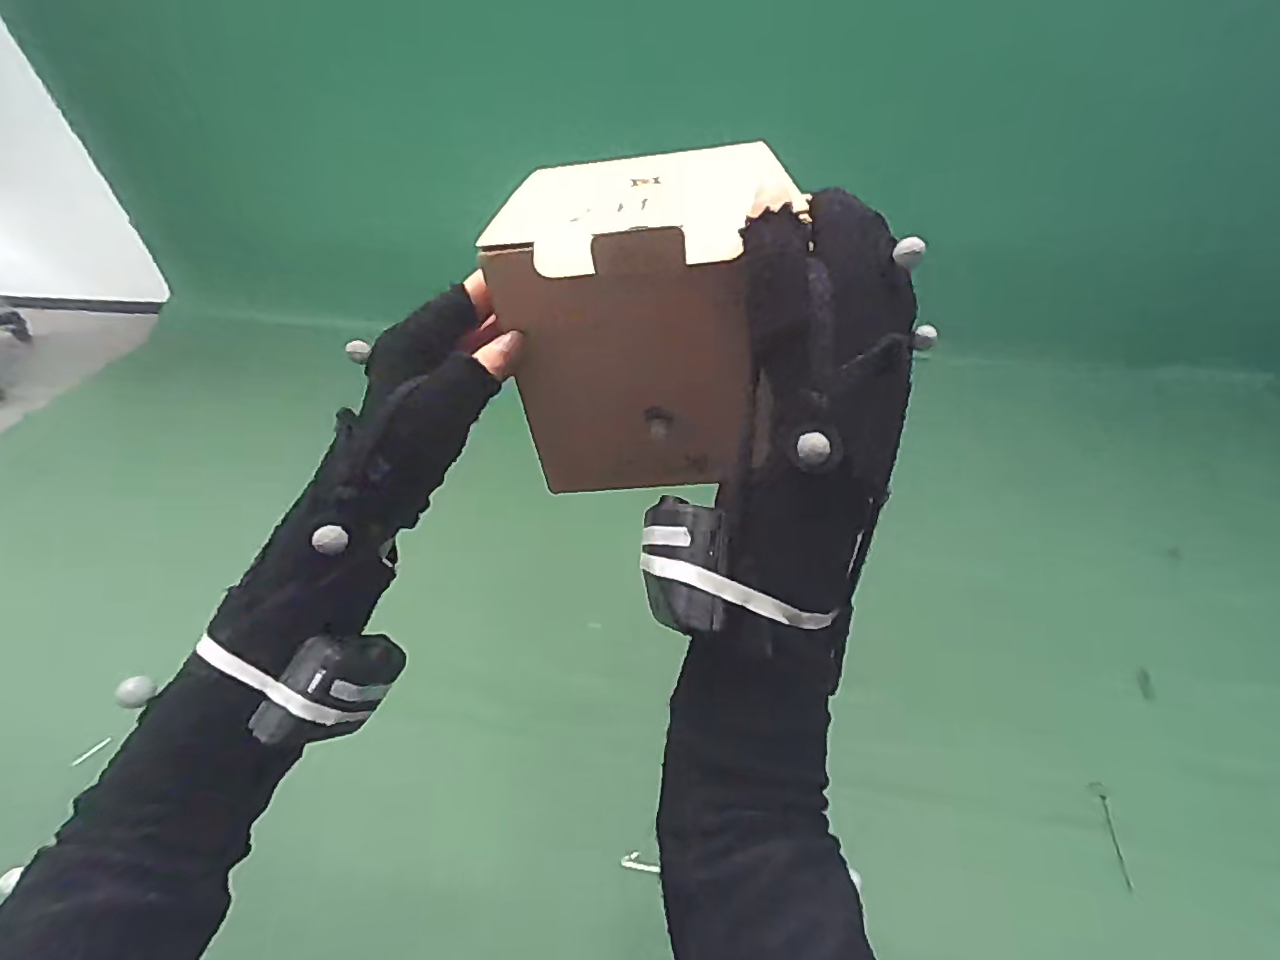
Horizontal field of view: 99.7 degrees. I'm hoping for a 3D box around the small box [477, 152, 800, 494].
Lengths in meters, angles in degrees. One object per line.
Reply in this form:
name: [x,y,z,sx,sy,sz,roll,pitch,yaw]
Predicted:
small box: [0.009,-0.111,0.381,0.168,0.176,0.179,-4,42,6]
